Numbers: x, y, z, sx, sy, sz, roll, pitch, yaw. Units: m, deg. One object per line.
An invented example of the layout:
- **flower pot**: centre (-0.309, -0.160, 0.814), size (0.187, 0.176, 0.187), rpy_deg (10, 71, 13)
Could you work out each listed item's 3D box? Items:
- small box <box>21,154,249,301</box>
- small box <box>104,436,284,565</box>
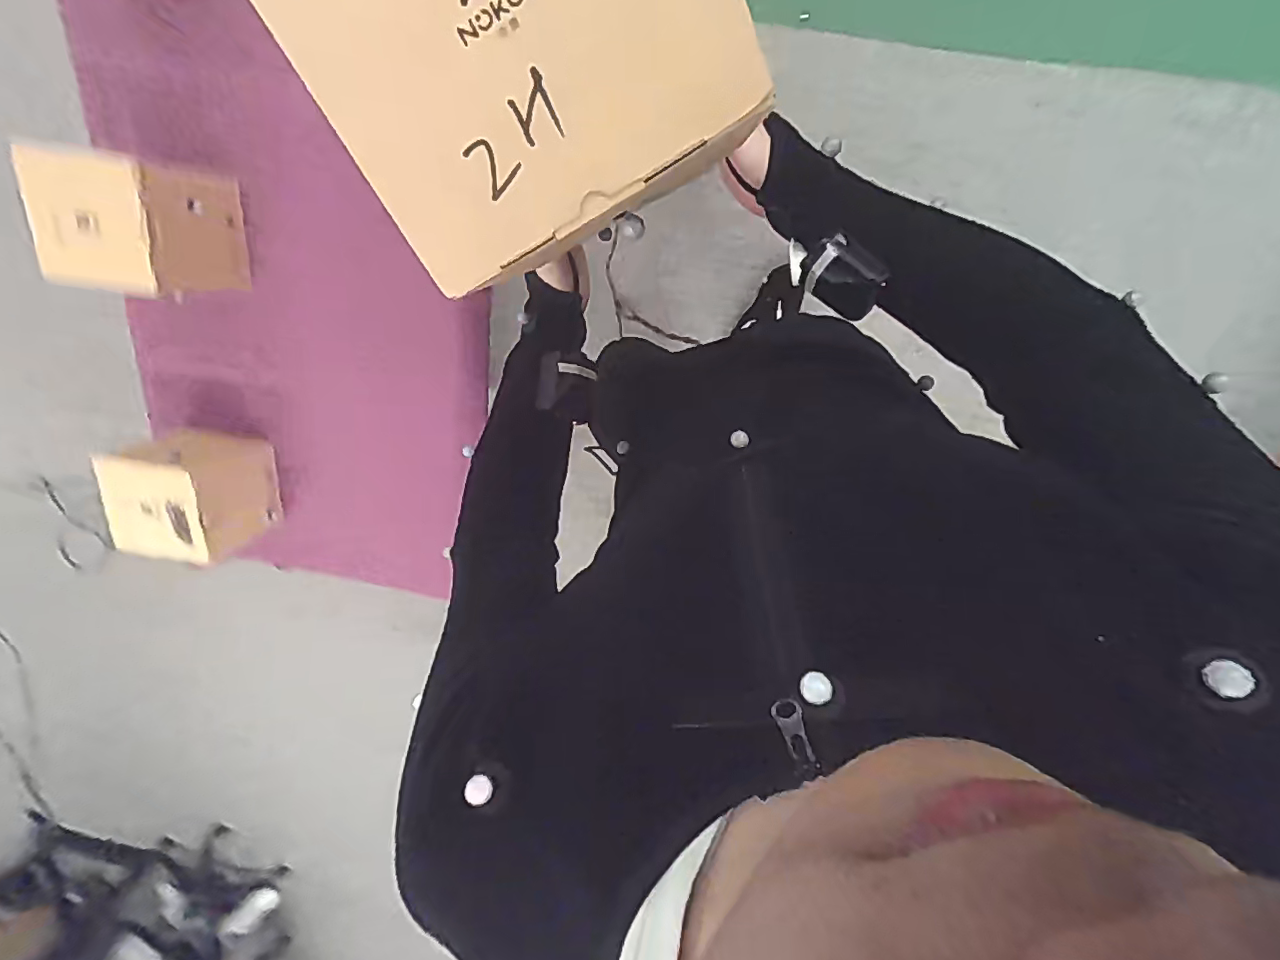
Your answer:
- **small box**: centre (-0.720, -0.365, 0.800), size (0.179, 0.176, 0.168), rpy_deg (9, 111, 5)
- **small box**: centre (-0.764, 0.028, 0.953), size (0.179, 0.176, 0.168), rpy_deg (8, 111, 6)
